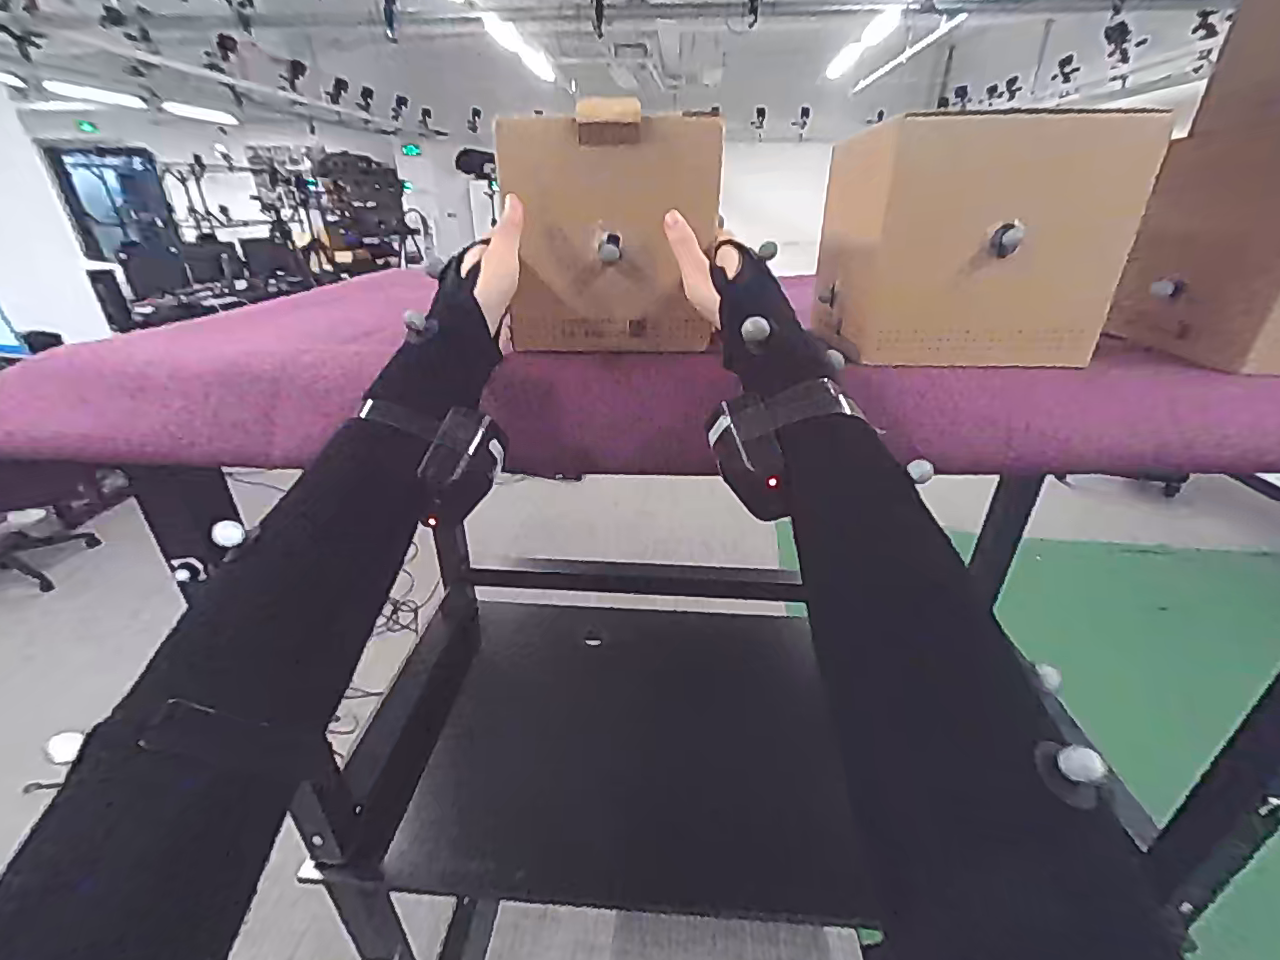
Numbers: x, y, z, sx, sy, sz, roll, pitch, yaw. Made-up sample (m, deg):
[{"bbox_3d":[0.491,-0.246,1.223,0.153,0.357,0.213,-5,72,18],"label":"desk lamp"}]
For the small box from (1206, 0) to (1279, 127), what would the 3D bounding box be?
[{"bbox_3d":[0.538,-0.323,0.336,0.179,0.176,0.168,2,27,4],"label":"small box"}]

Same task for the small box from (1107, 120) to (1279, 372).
[{"bbox_3d":[0.538,-0.186,0.429,0.179,0.176,0.168,1,27,5],"label":"small box"}]

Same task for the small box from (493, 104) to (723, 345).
[{"bbox_3d":[-0.021,-0.221,0.484,0.168,0.176,0.179,2,26,0],"label":"small box"}]
